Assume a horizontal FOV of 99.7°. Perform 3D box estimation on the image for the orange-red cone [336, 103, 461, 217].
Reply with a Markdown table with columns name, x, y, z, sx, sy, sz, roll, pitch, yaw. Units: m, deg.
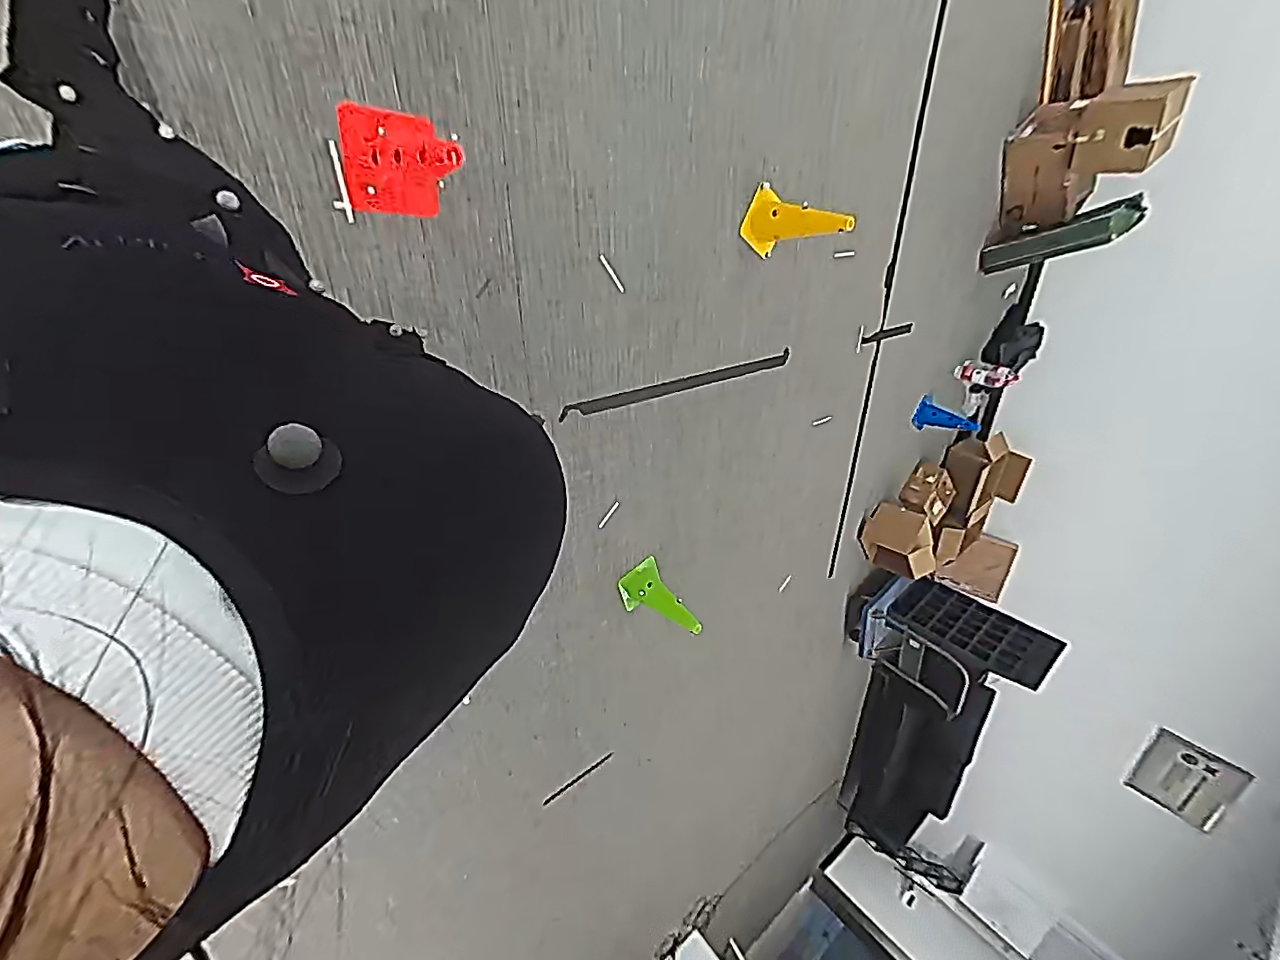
| name | x | y | z | sx | sy | sz | roll | pitch | yaw |
| --- | --- | --- | --- | --- | --- | --- | --- | --- | --- |
| orange-red cone | -0.444 | -0.633 | 1.074 | 0.199 | 0.360 | 0.198 | -14 | 121 | -39 |

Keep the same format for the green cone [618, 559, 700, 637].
| name | x | y | z | sx | sy | sz | roll | pitch | yaw |
| --- | --- | --- | --- | --- | --- | --- | --- | --- | --- |
| green cone | 0.106 | 0.513 | 2.185 | 0.202 | 0.368 | 0.200 | -34 | 130 | -23 |
